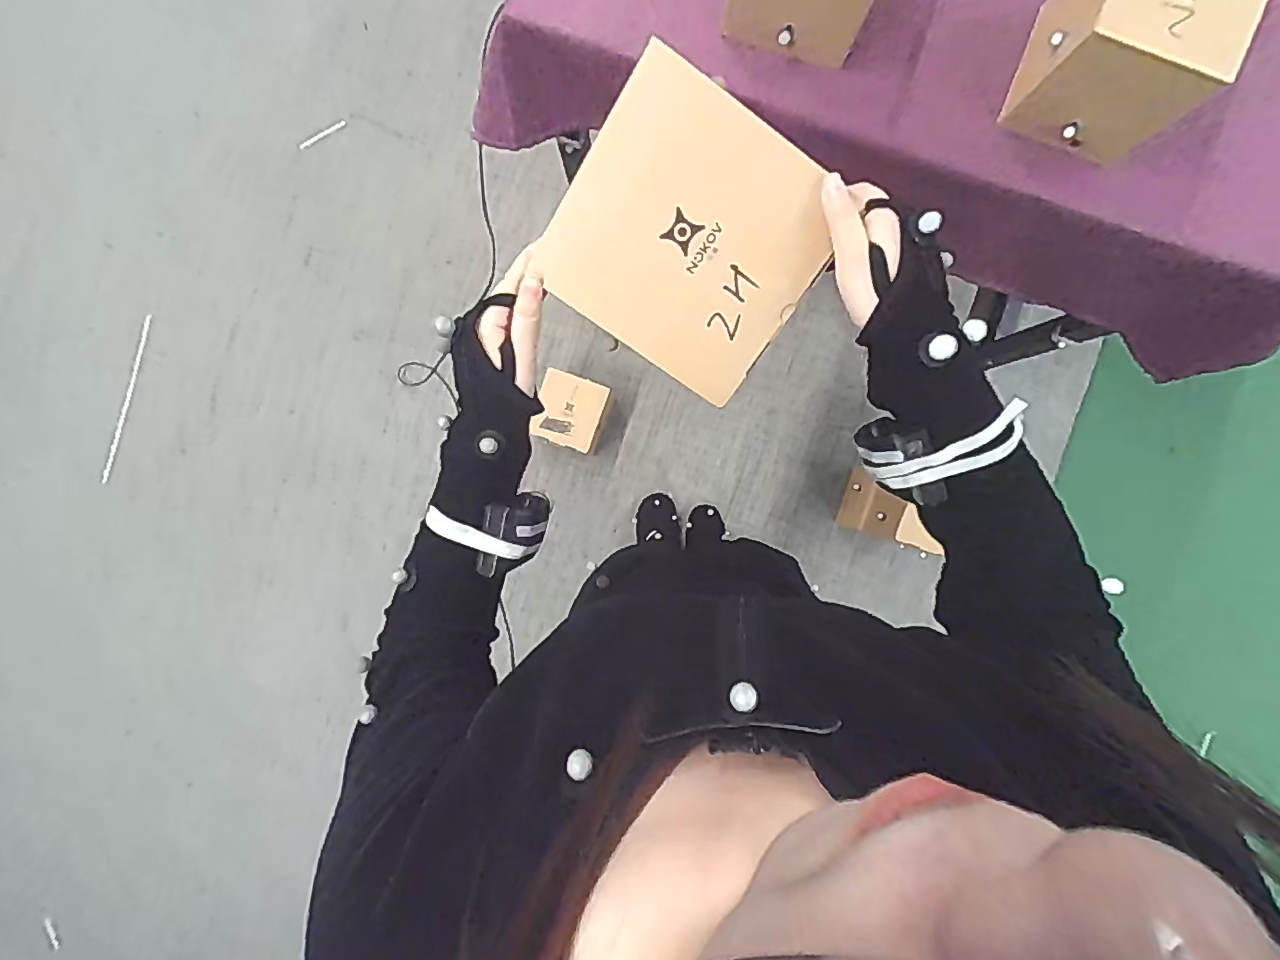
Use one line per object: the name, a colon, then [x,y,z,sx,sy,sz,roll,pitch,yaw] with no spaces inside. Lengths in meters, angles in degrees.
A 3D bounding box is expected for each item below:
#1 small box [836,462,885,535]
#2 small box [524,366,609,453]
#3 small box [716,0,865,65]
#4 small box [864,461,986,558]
small box: [0.643,0.056,1.425,0.179,0.176,0.168,16,92,-1]
small box: [-0.183,-0.177,1.418,0.168,0.176,0.179,19,90,-1]
small box: [0.210,-0.671,0.674,0.179,0.176,0.168,17,91,-1]
small box: [0.652,0.063,1.263,0.168,0.176,0.179,19,91,-2]
